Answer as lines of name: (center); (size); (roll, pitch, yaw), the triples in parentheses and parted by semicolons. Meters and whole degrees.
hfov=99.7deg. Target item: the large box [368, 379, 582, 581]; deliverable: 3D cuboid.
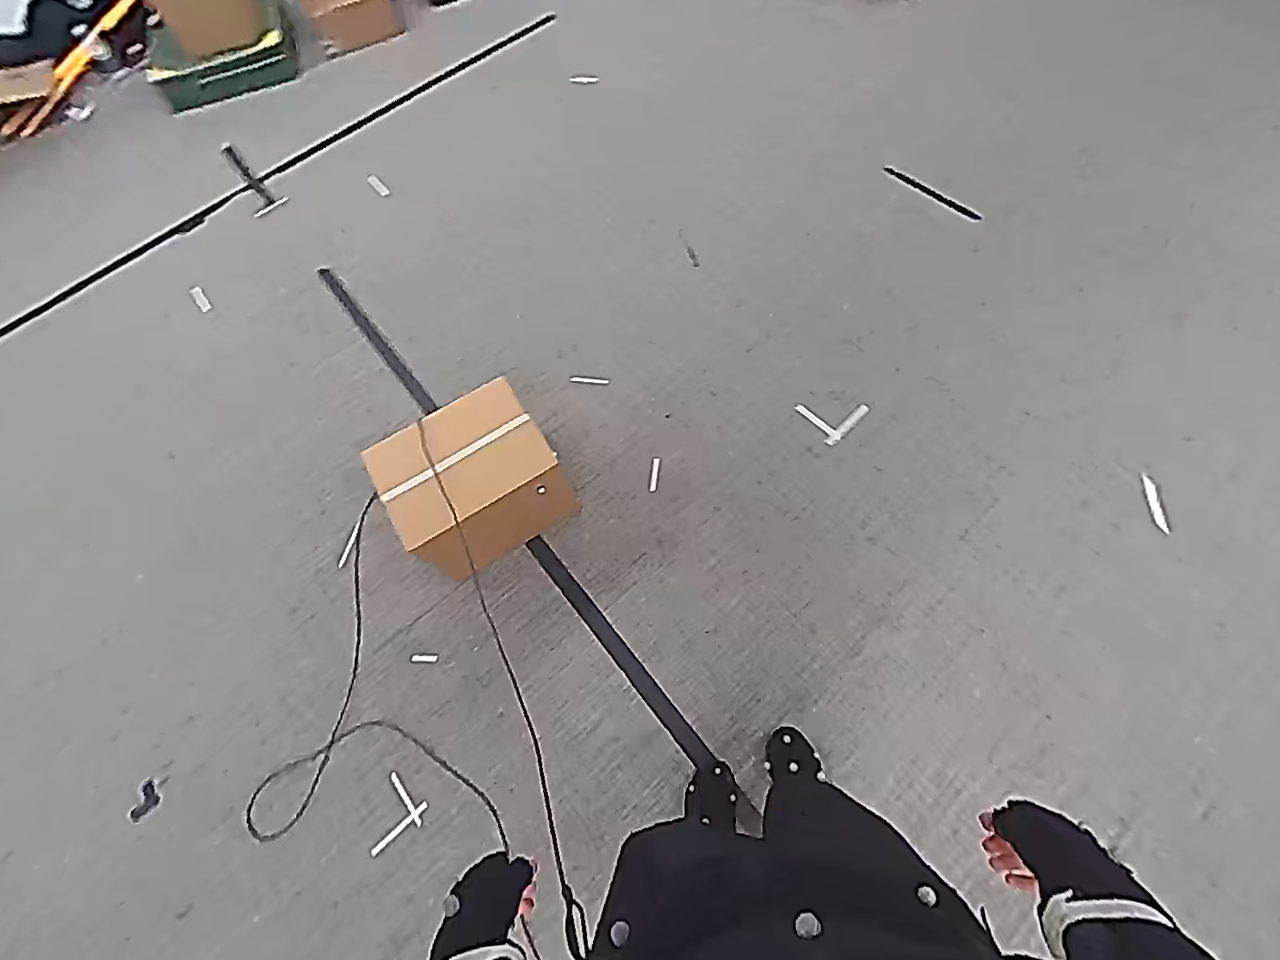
large box: (-0.418, 0.011, 1.448); (0.408, 0.320, 0.320); (-32, 67, -9)
